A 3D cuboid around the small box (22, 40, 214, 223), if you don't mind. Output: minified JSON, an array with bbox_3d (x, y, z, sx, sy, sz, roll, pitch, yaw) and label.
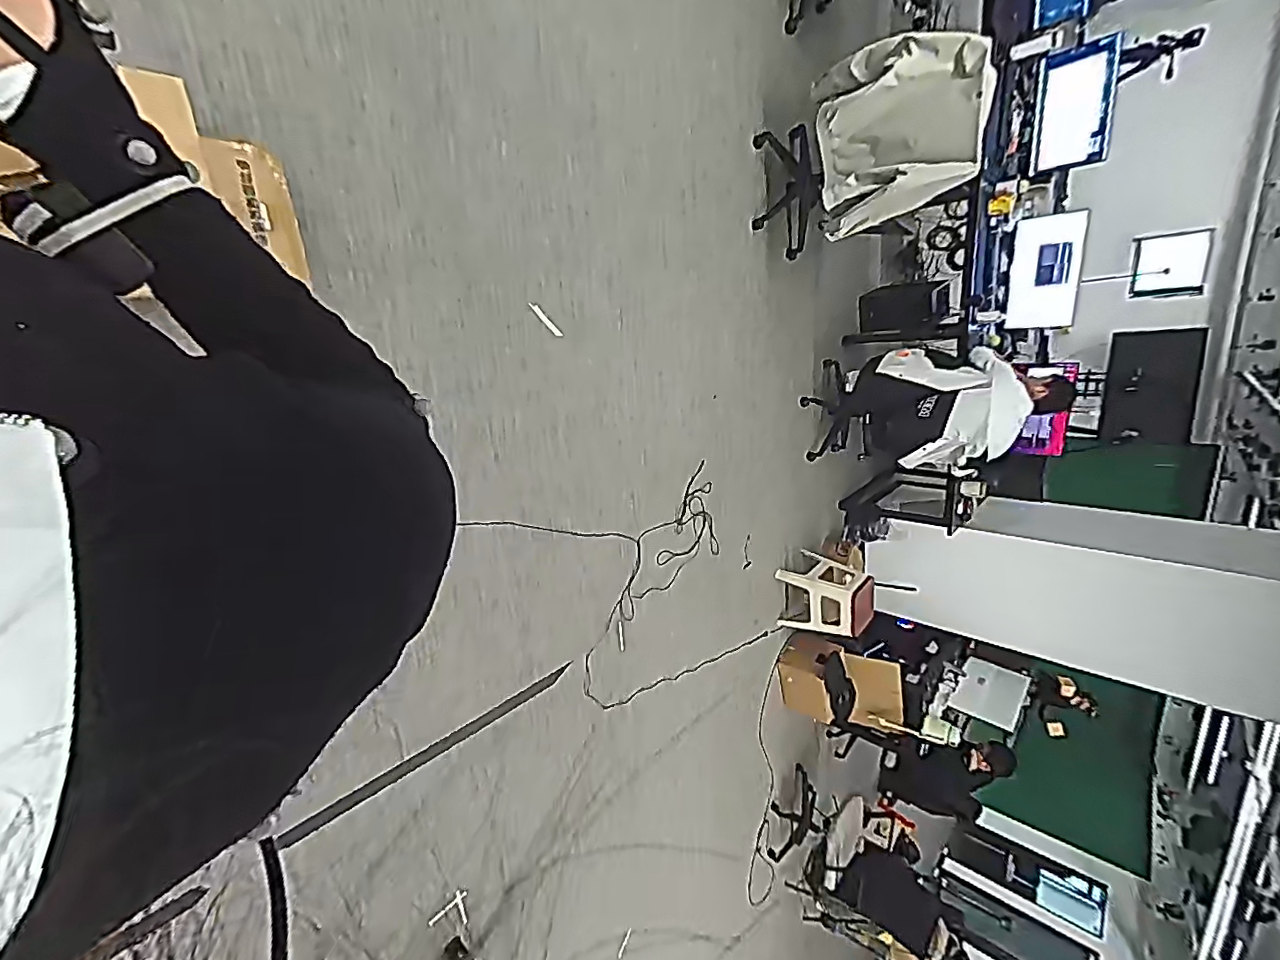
[{"bbox_3d":[-0.784,-0.504,0.816,0.168,0.176,0.179,-21,112,-44],"label":"small box"}]

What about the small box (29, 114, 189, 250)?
[{"bbox_3d":[-0.909,-0.509,0.926,0.168,0.176,0.179,-15,109,-45],"label":"small box"}]
